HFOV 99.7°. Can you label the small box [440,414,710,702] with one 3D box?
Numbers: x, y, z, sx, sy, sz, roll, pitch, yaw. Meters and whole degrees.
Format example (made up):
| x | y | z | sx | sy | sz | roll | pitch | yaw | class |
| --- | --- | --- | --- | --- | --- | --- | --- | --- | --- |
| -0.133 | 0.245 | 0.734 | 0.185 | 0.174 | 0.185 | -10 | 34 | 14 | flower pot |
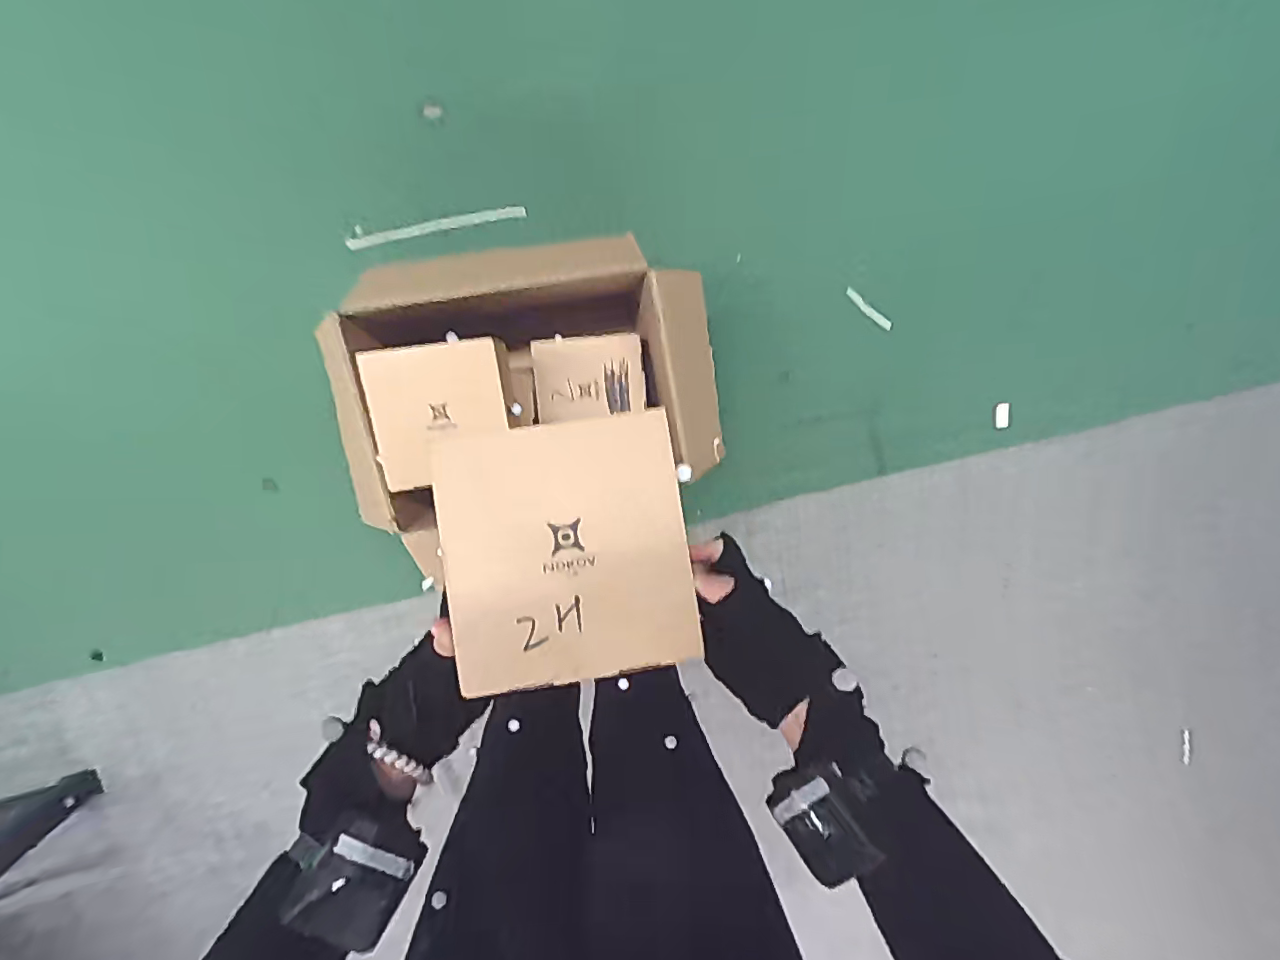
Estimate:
| x | y | z | sx | sy | sz | roll | pitch | yaw | class |
| --- | --- | --- | --- | --- | --- | --- | --- | --- | --- |
| -0.049 | 0.055 | 0.440 | 0.168 | 0.176 | 0.179 | -8 | 88 | -4 | small box |
